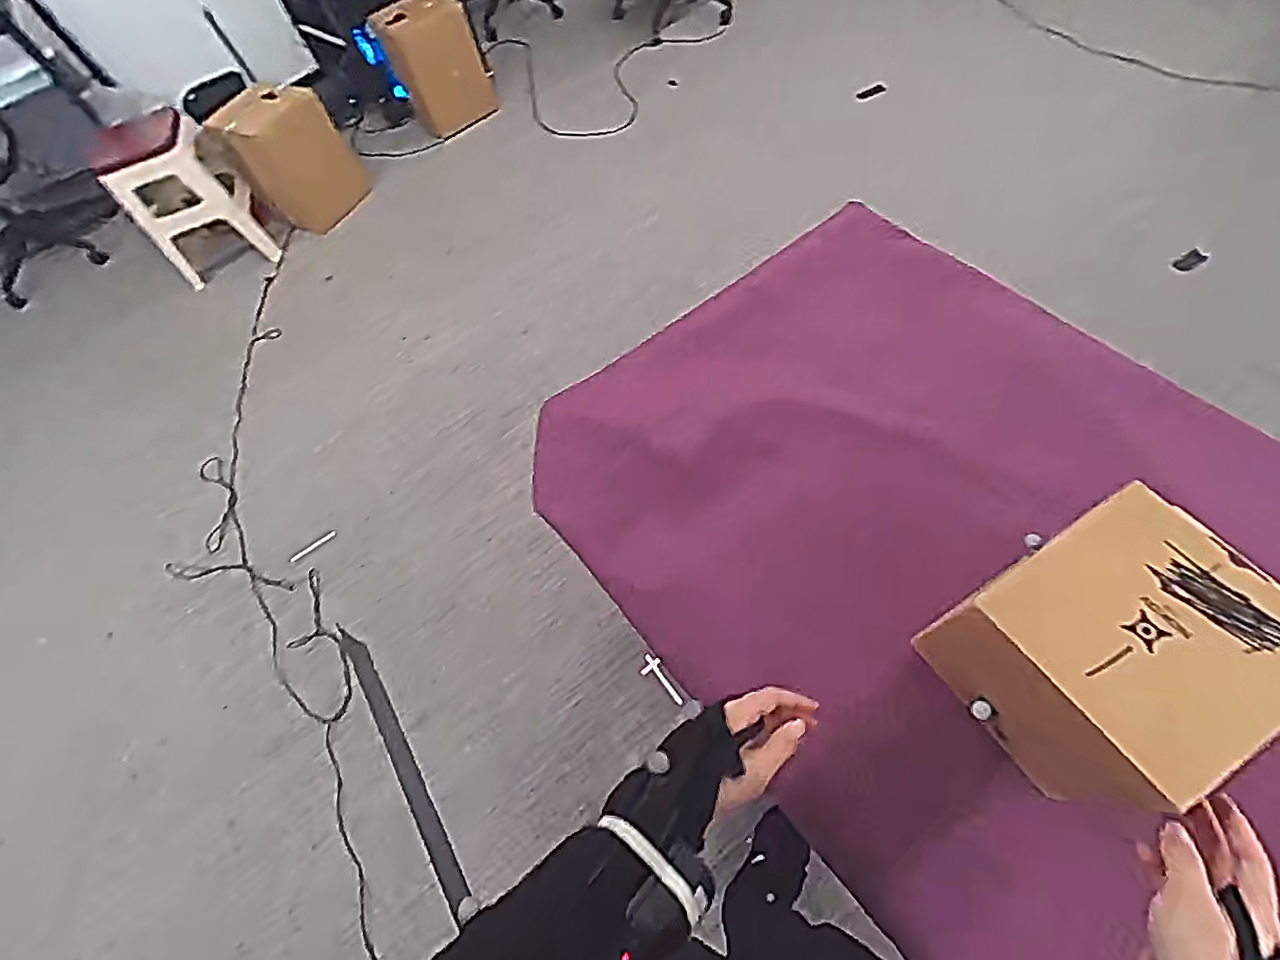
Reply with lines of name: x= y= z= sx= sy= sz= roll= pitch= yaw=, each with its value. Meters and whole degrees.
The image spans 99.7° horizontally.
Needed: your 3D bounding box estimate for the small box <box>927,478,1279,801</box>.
small box: x=0.384 y=0.135 z=0.456 sx=0.179 sy=0.176 sz=0.168 roll=-32 pitch=62 yaw=-7
